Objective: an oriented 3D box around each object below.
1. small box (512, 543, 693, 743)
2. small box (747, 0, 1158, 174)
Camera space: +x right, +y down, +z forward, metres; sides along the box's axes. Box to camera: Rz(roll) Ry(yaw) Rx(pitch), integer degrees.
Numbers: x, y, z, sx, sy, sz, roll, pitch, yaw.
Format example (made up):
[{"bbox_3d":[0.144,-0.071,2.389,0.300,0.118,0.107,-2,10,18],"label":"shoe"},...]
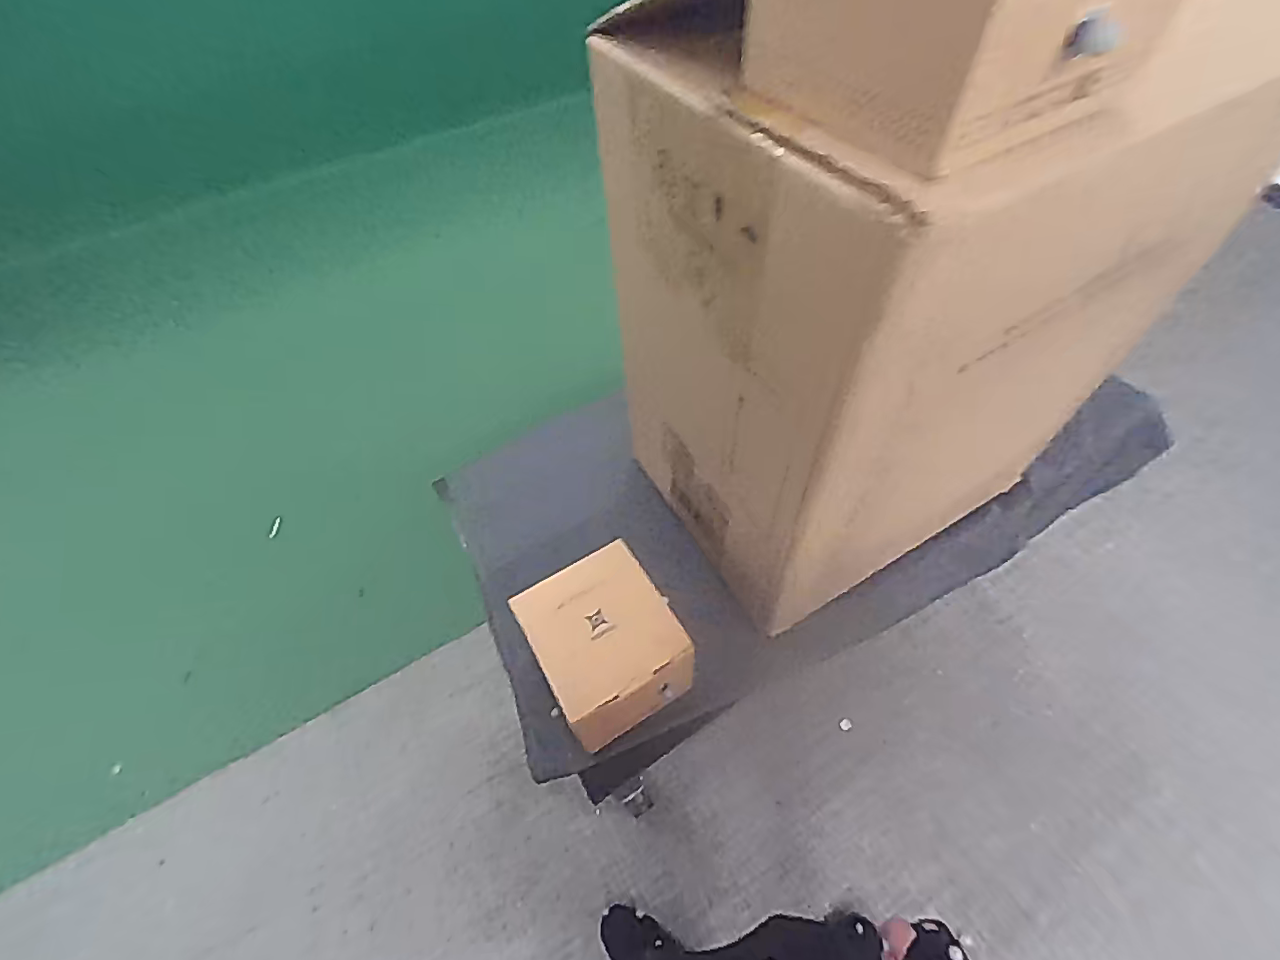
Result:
[{"bbox_3d":[-0.045,0.223,0.721,0.168,0.176,0.179,-28,55,-18],"label":"small box"},{"bbox_3d":[0.178,-0.308,0.308,0.168,0.176,0.179,-27,57,-14],"label":"small box"}]
